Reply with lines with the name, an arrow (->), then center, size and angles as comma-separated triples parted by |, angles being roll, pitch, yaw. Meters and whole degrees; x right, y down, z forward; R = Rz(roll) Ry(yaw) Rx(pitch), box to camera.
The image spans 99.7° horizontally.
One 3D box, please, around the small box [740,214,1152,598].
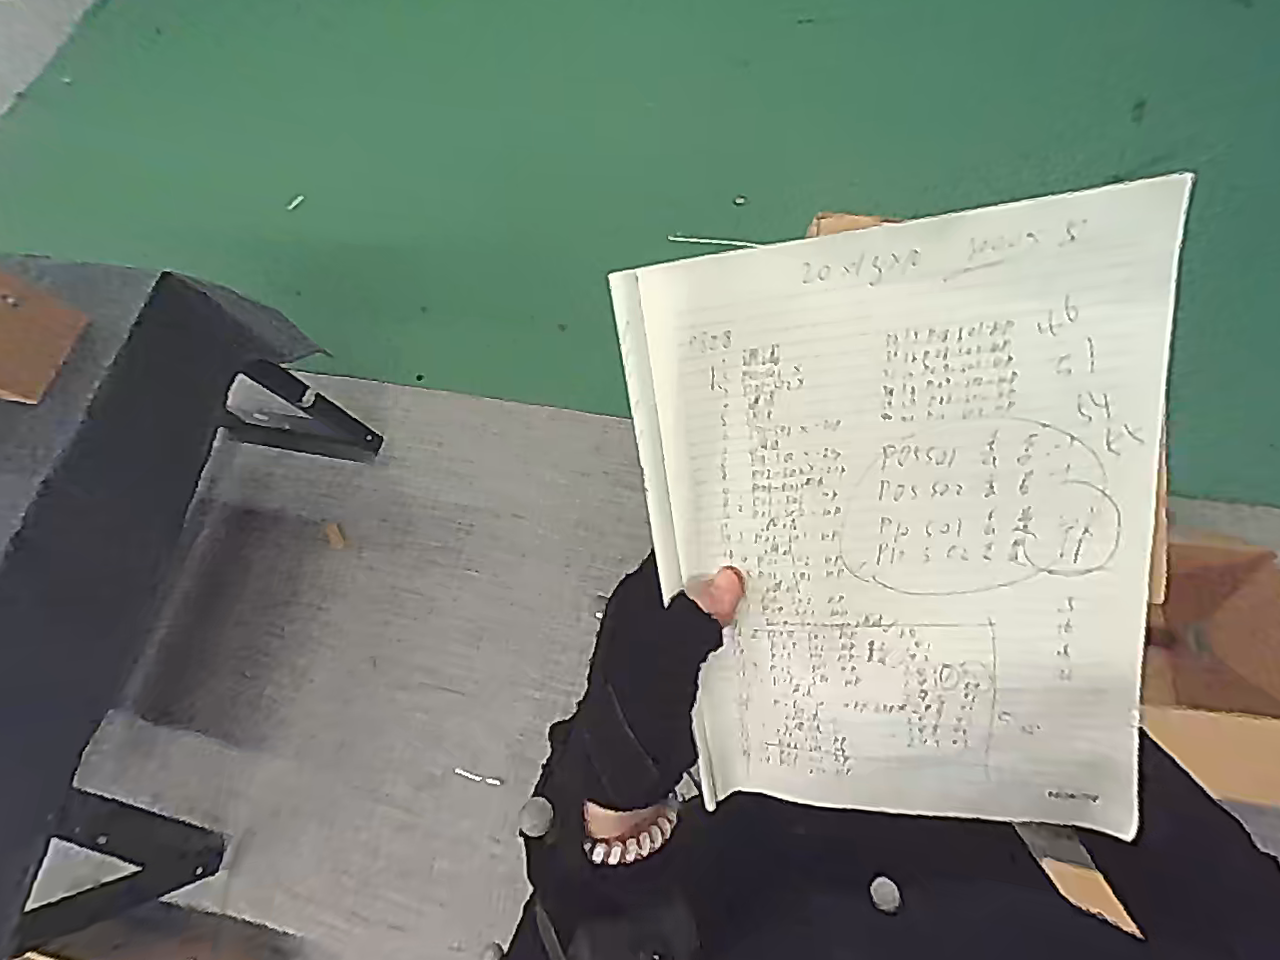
small box -> 0.160, -0.030, 0.338 | 0.168, 0.176, 0.179 | 7, 82, 4
